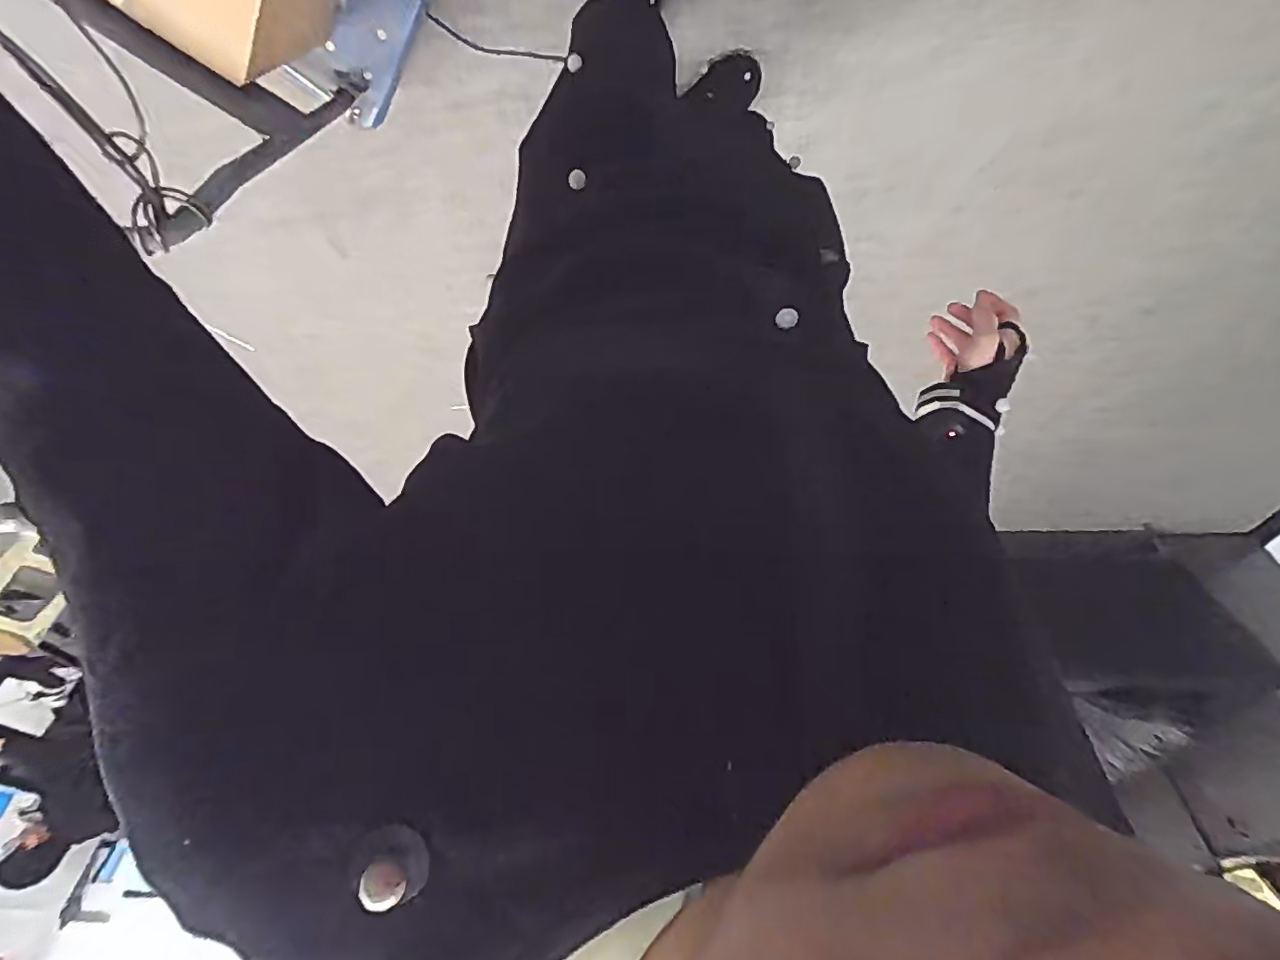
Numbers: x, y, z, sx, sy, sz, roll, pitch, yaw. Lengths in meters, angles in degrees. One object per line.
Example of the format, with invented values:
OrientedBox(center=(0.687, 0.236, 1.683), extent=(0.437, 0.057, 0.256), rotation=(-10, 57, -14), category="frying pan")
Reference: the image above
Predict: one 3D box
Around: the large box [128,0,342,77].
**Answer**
OrientedBox(center=(-0.578, -0.868, 0.718), extent=(0.320, 0.320, 0.408), rotation=(28, 131, -27), category="large box")
